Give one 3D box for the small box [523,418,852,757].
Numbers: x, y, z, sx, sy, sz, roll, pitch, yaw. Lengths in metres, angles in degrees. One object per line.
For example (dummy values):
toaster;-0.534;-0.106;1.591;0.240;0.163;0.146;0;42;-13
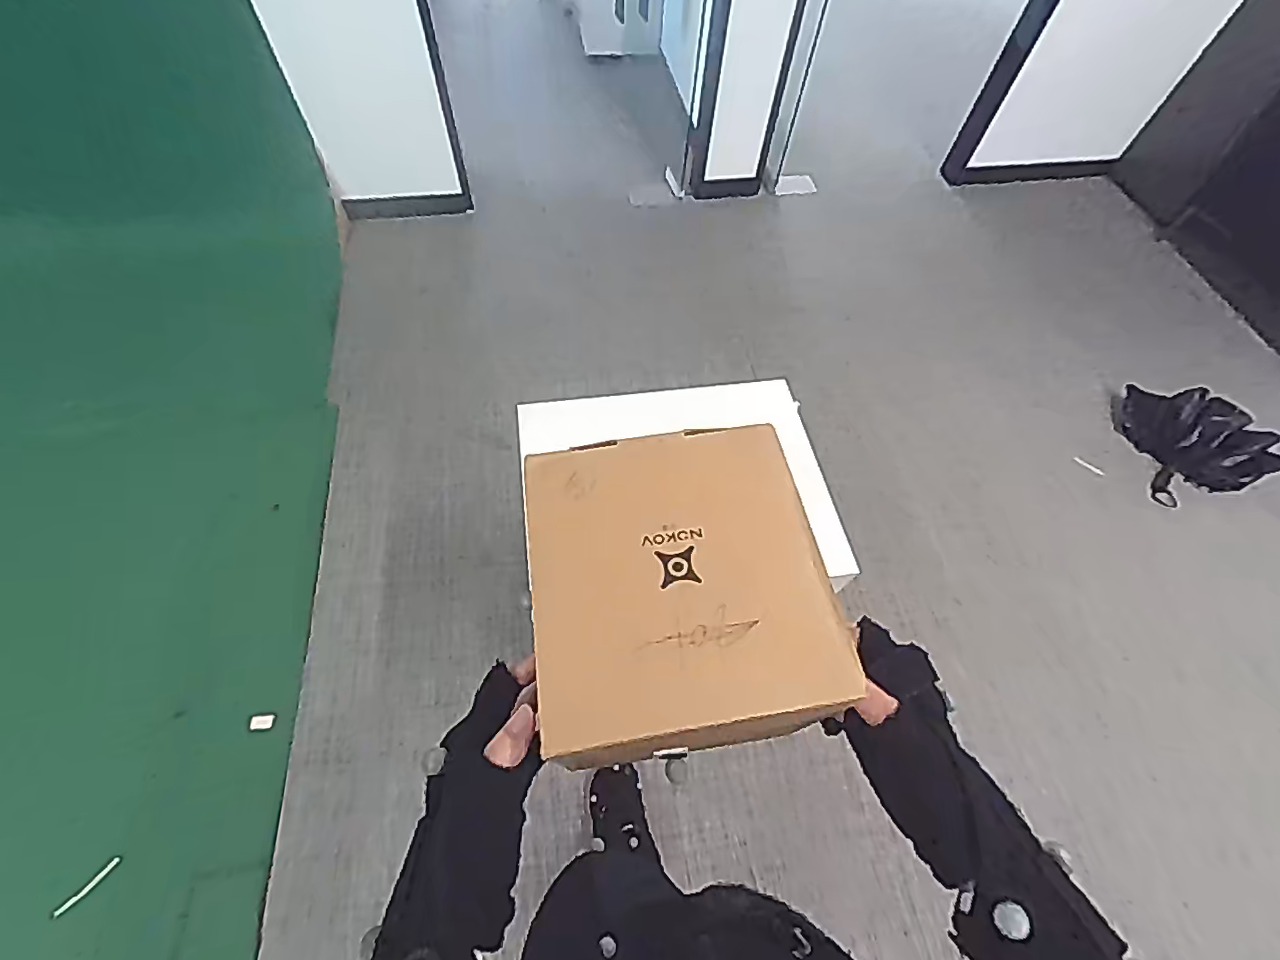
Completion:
small box;0.016;0.083;0.382;0.168;0.176;0.179;-9;61;-4
